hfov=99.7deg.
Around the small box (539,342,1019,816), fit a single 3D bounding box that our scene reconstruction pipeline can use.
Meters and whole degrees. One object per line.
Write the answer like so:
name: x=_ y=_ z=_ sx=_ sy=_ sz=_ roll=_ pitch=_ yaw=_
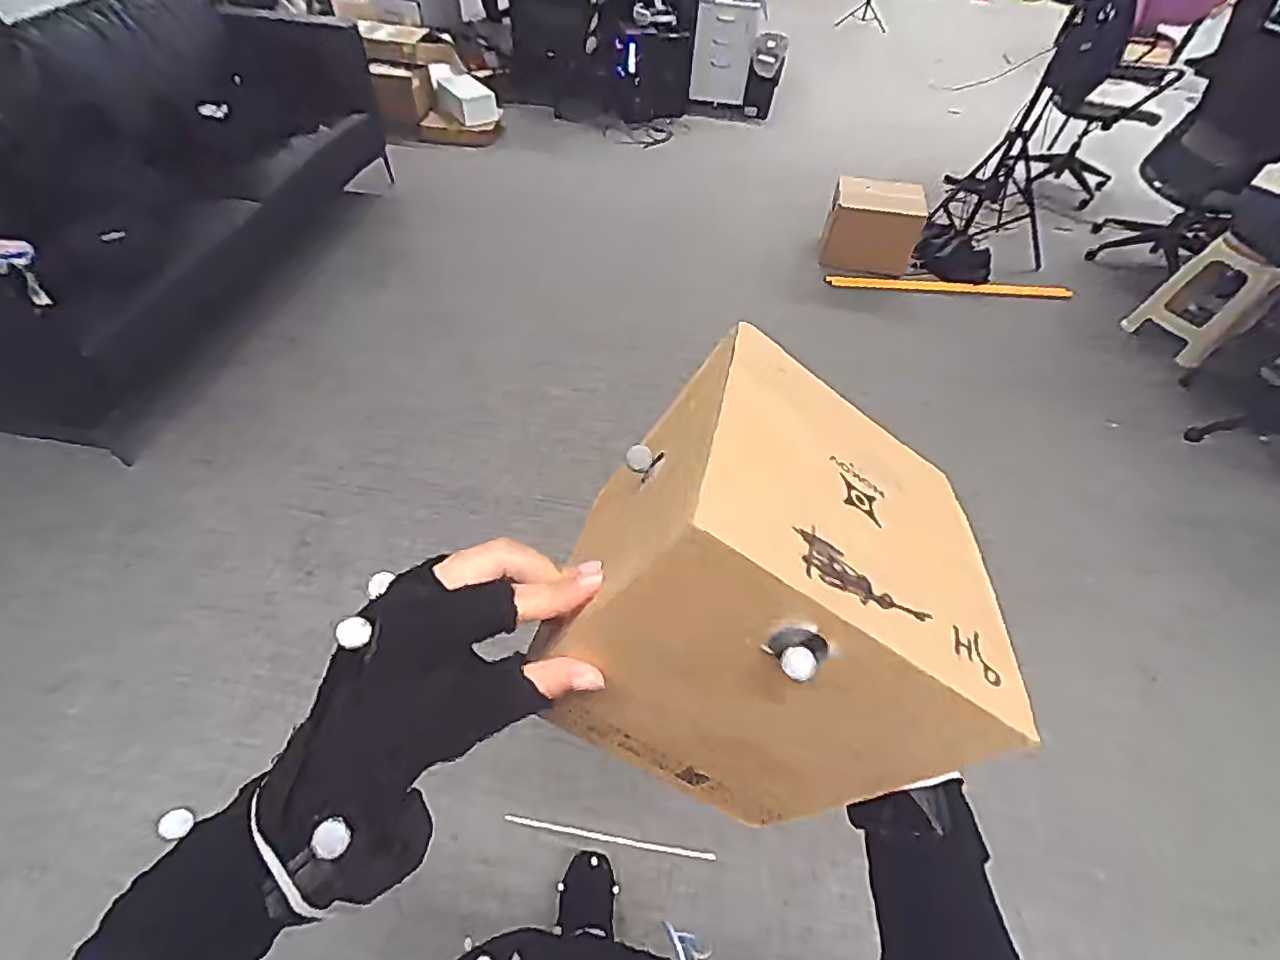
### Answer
small box: x=0.063 y=0.059 z=0.319 sx=0.168 sy=0.176 sz=0.179 roll=33 pitch=38 yaw=-10
